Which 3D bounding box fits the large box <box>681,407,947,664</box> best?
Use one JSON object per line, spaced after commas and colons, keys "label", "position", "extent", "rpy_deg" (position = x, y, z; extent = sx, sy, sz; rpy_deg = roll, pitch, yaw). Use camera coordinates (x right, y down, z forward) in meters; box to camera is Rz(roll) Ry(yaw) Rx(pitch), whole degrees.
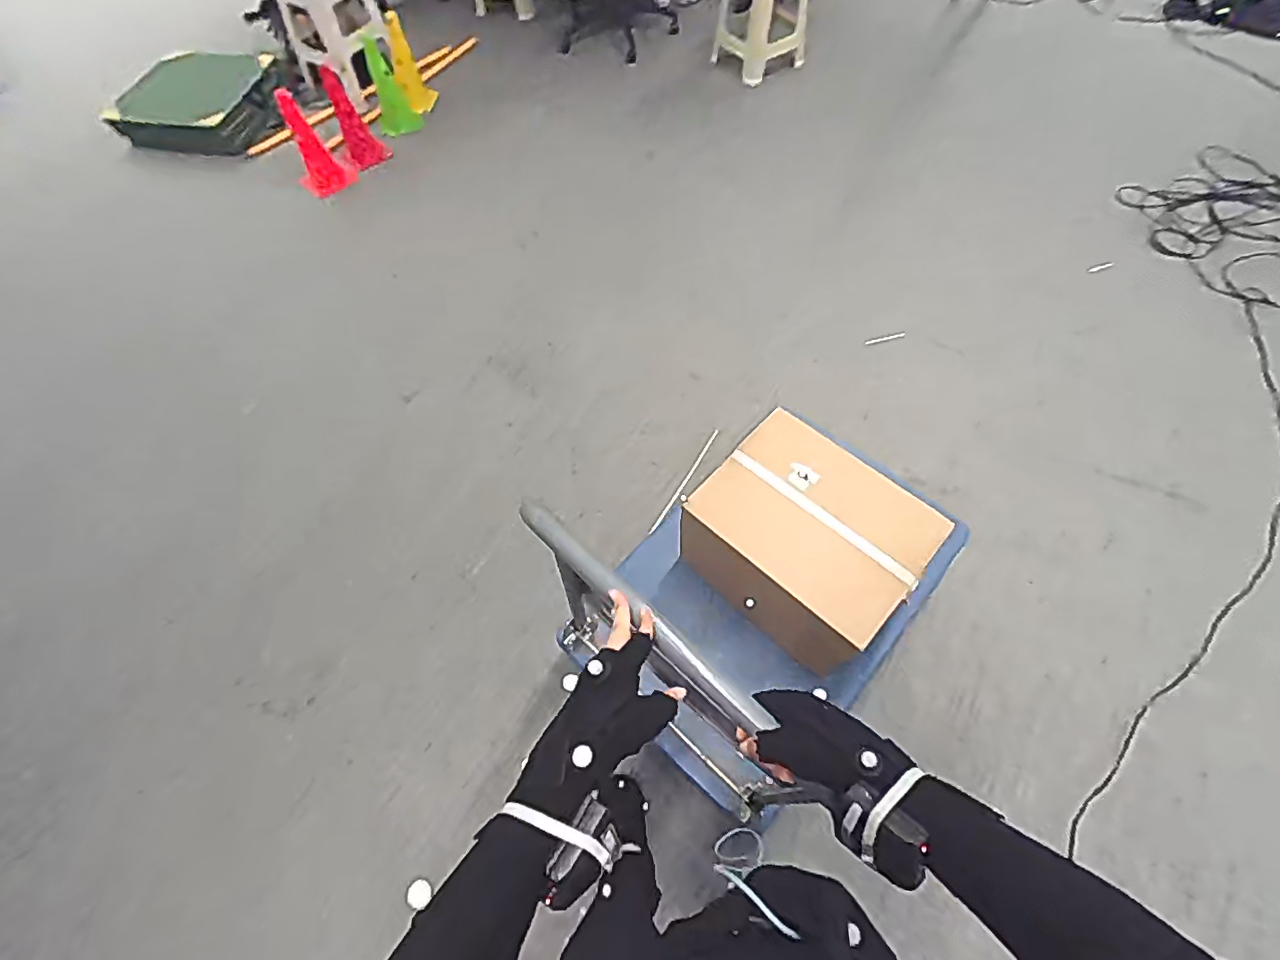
{"label": "large box", "position": [0.340, 0.126, 1.162], "extent": [0.408, 0.320, 0.320], "rpy_deg": [39, 71, 22]}
